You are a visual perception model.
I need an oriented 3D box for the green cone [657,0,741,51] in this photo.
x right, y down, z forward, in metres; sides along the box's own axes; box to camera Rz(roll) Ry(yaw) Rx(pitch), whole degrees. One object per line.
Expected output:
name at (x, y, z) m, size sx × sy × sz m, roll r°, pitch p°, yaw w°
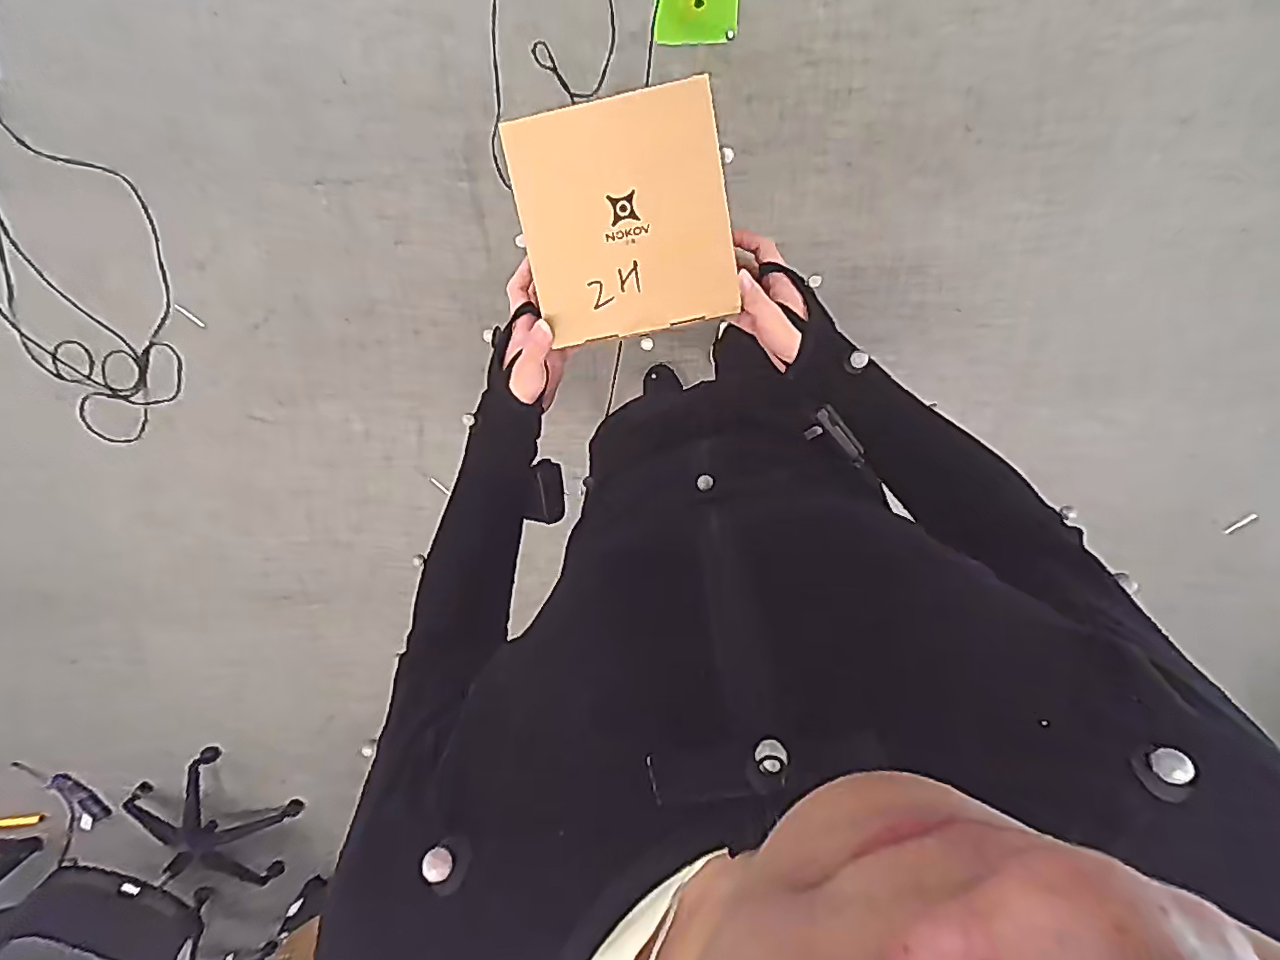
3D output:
green cone at (0.132, -1.099, 1.125) m, size 0.202 × 0.368 × 0.200 m, roll 0°, pitch 106°, yaw 3°

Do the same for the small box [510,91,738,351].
small box at (-0.009, -0.225, 0.519) m, size 0.168 × 0.176 × 0.179 m, roll -9°, pitch 103°, yaw 5°
